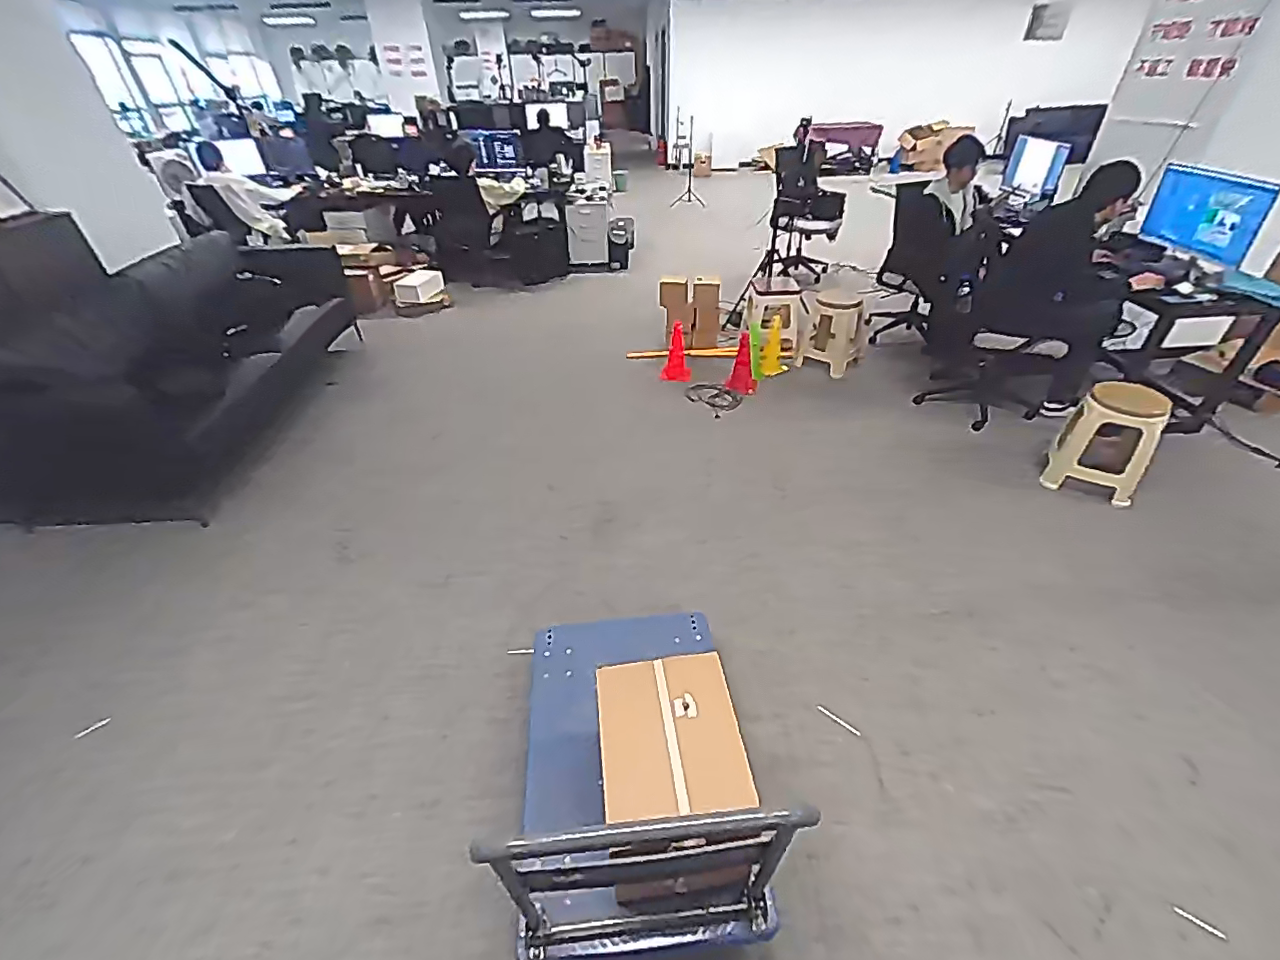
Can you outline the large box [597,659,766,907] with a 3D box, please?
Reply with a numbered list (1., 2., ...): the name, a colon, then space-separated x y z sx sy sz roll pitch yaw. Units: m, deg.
1. large box: 0.078 0.706 1.290 0.320 0.320 0.408 -5 37 -5
